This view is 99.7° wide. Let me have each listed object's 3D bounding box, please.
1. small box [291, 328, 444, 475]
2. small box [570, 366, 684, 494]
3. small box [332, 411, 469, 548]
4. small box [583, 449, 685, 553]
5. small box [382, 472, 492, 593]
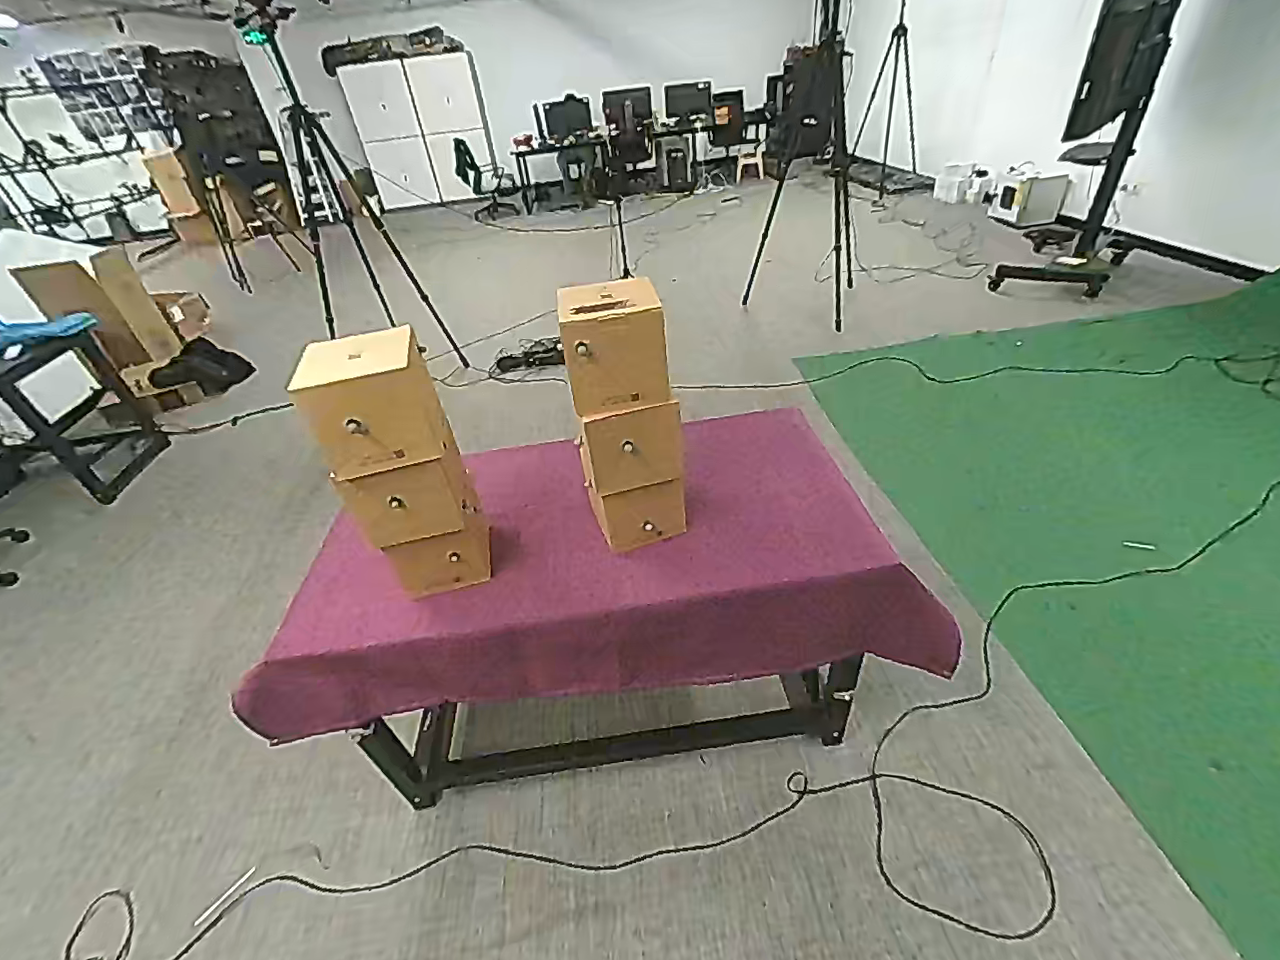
[{"bbox_3d":[-0.428,-0.124,0.884,0.168,0.176,0.179,-14,38,-10],"label":"small box"},{"bbox_3d":[-0.024,-0.093,1.035,0.179,0.176,0.168,-13,38,-7],"label":"small box"},{"bbox_3d":[-0.422,-0.001,0.991,0.179,0.176,0.168,-13,38,-7],"label":"small box"},{"bbox_3d":[-0.013,0.025,1.150,0.168,0.176,0.179,-16,38,-11],"label":"small box"},{"bbox_3d":[-0.407,0.112,1.110,0.168,0.176,0.179,-12,37,-7],"label":"small box"}]
